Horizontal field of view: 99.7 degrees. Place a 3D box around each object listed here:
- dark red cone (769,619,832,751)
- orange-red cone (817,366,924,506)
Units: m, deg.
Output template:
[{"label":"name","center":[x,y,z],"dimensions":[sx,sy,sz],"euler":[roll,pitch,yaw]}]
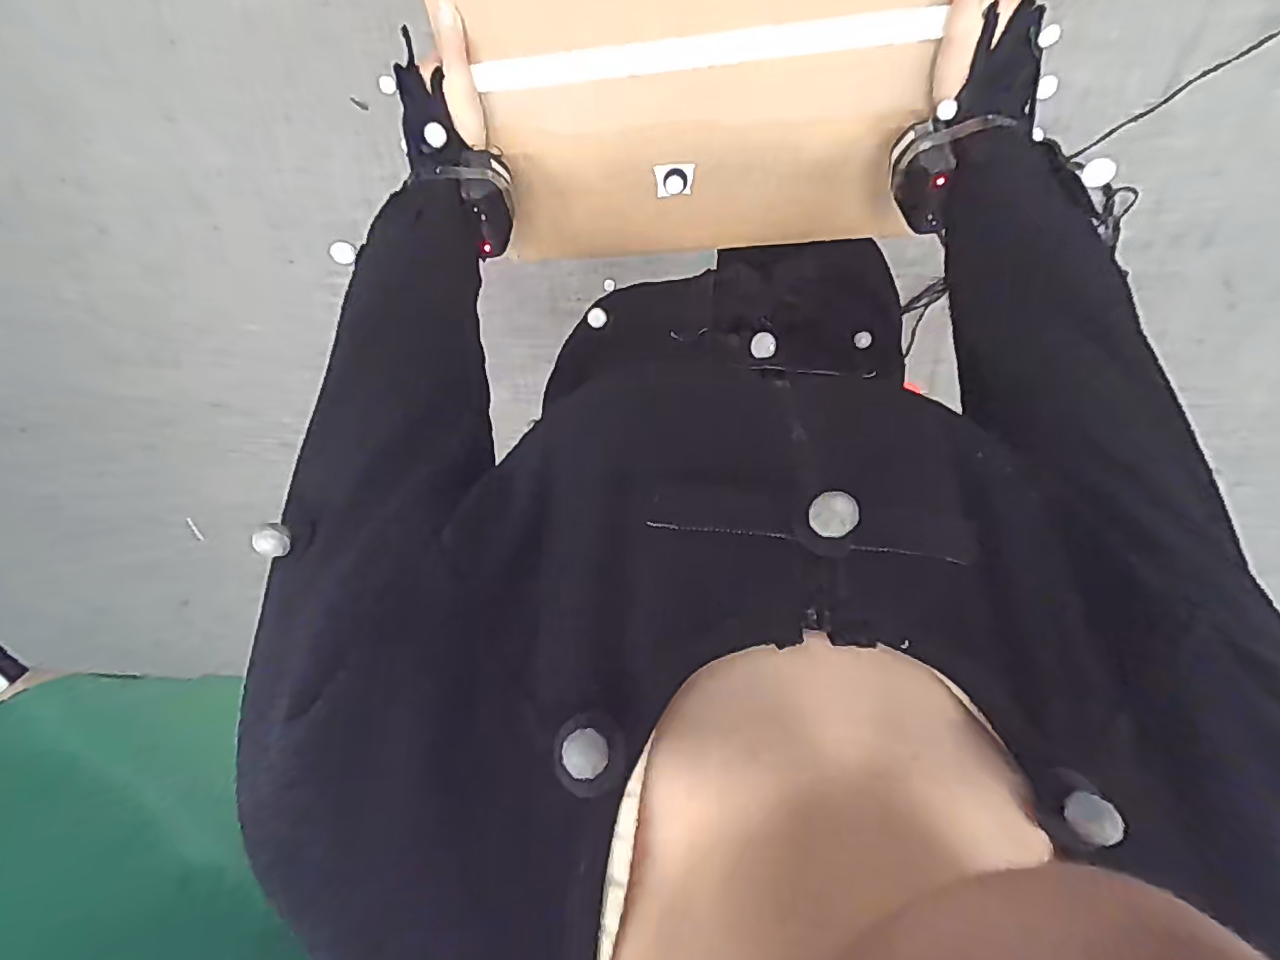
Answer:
[{"label":"dark red cone","center":[0.509,0.623,1.646],"dimensions":[0.202,0.394,0.201],"euler":[-4,127,11]},{"label":"orange-red cone","center":[0.541,-0.068,1.177],"dimensions":[0.199,0.360,0.198],"euler":[17,127,-6]}]
